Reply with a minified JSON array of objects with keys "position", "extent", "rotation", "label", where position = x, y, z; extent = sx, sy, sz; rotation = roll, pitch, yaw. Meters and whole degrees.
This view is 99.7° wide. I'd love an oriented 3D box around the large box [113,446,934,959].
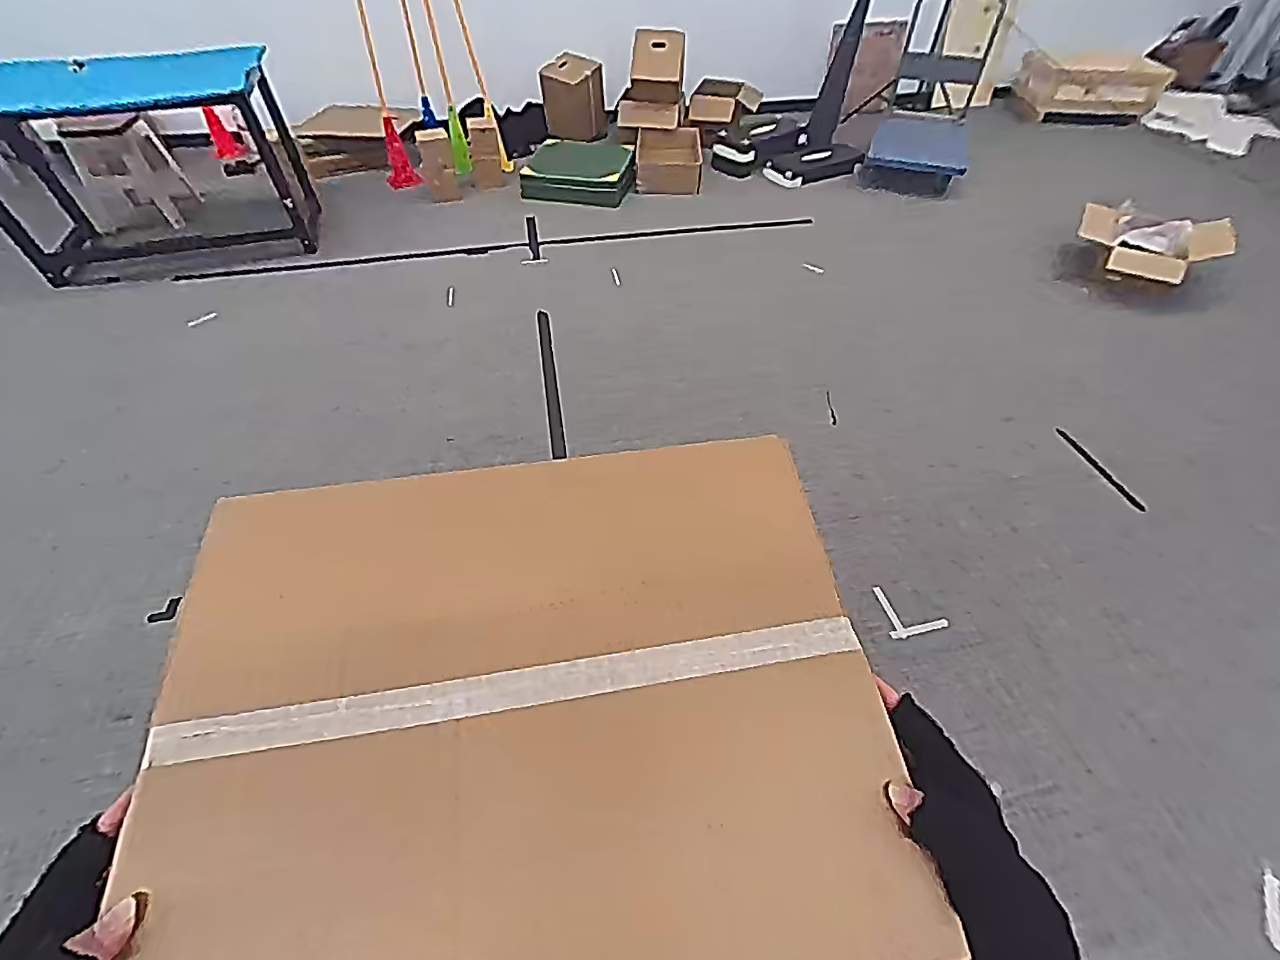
[{"position":[-0.072,0.205,0.450],"extent":[0.408,0.320,0.320],"rotation":[-7,59,-6],"label":"large box"}]
